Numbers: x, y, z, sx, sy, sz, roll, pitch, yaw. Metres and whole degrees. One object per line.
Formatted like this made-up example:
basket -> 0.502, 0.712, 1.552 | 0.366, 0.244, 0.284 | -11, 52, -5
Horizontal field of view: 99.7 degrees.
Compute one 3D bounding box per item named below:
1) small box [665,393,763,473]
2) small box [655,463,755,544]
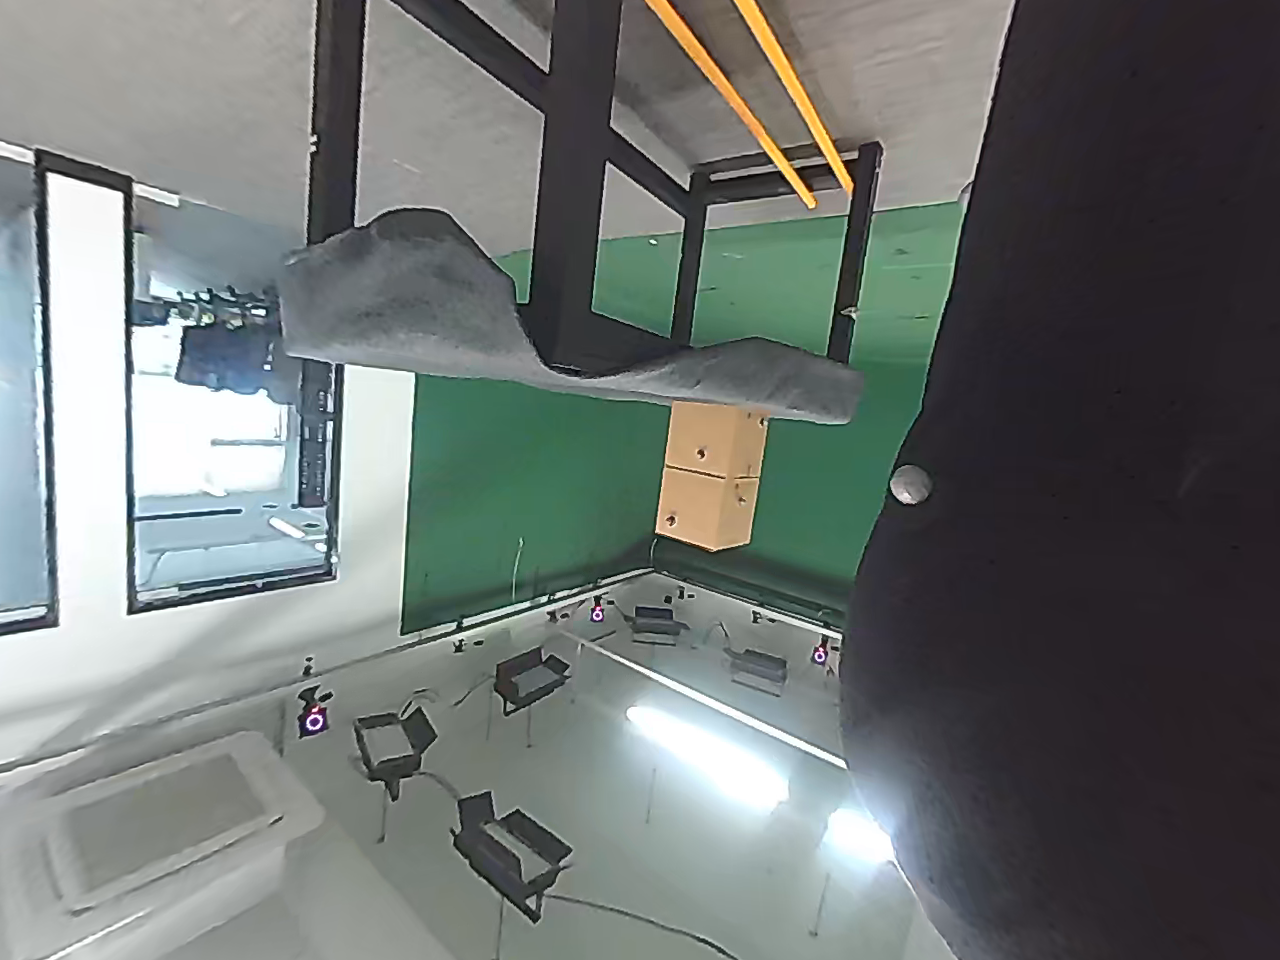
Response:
small box -> 0.183, -0.116, 1.298 | 0.179, 0.176, 0.168 | 14, -170, 37
small box -> 0.161, 0.046, 1.322 | 0.179, 0.176, 0.168 | 13, -169, 40
